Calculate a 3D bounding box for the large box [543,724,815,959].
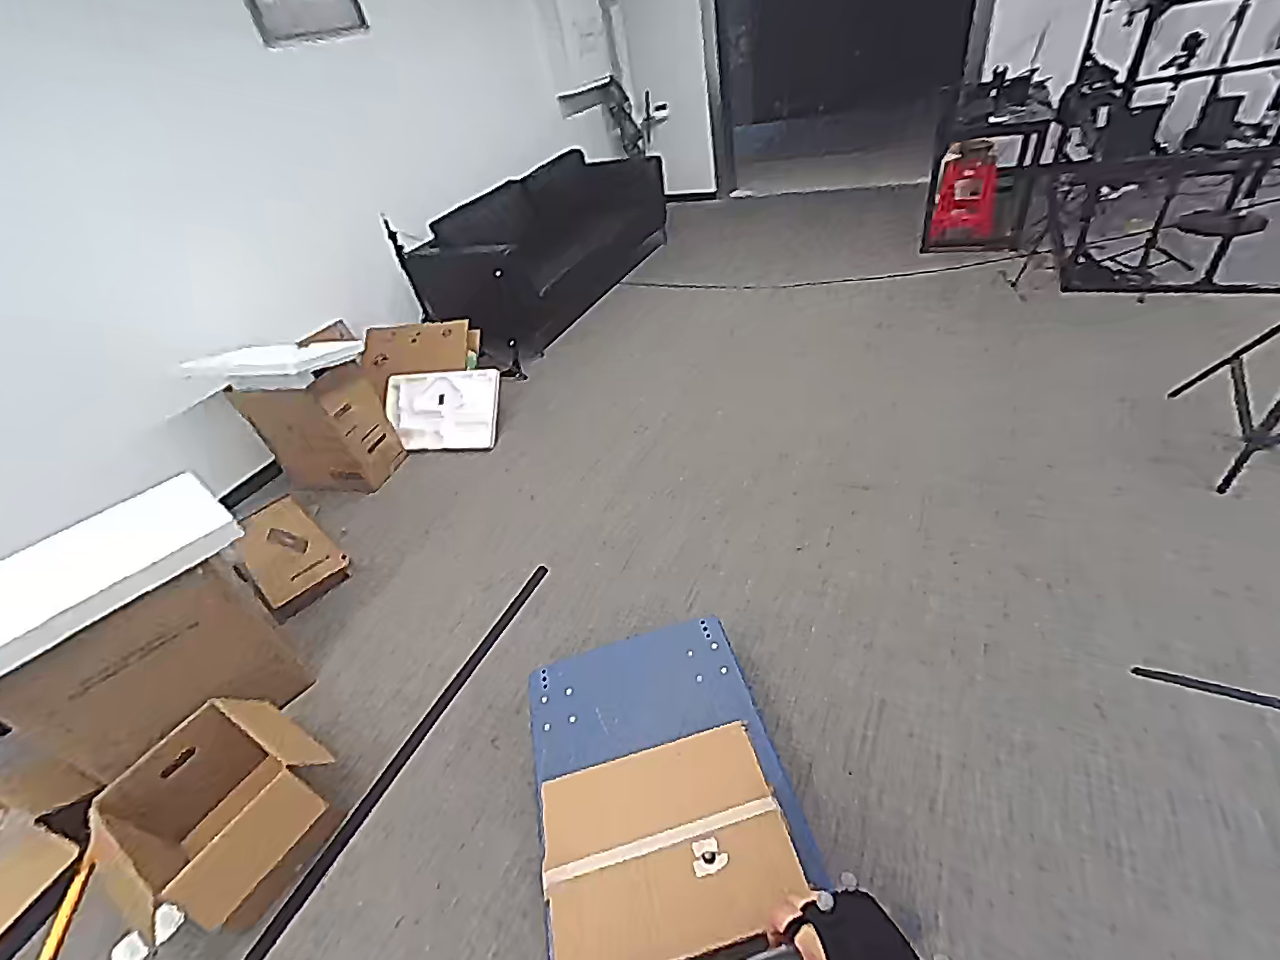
[{"bbox_3d":[0.065,0.730,1.005,0.408,0.320,0.320,-15,39,-5],"label":"large box"}]
